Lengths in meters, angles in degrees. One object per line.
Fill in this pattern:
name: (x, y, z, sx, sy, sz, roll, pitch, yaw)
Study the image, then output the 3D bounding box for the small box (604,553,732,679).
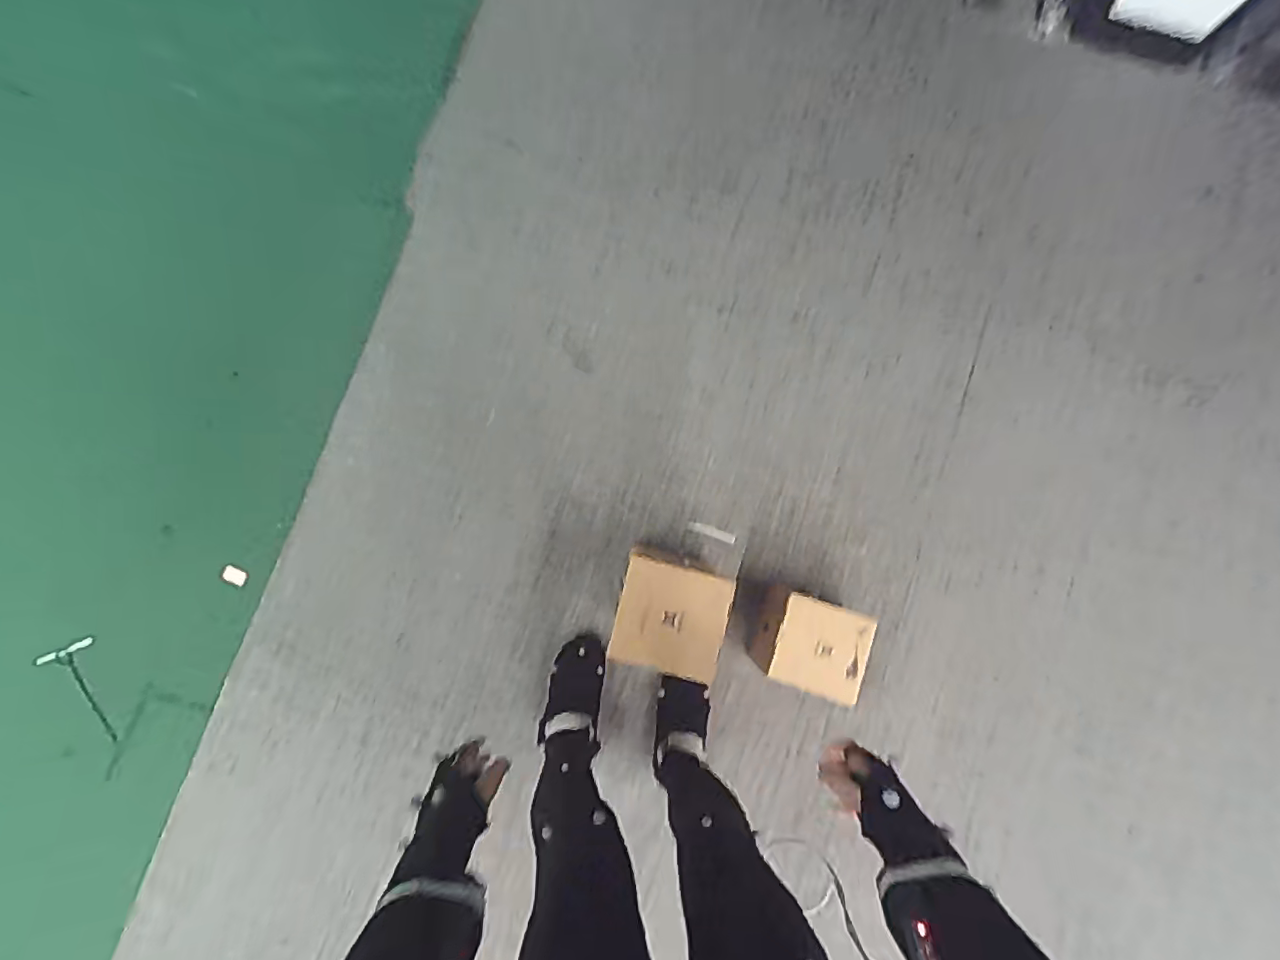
small box: (0.046, 0.227, 0.950, 0.179, 0.176, 0.168, 15, 83, 2)

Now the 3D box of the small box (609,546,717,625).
small box: (0.044, 0.234, 1.113, 0.179, 0.176, 0.168, 15, 84, 2)
